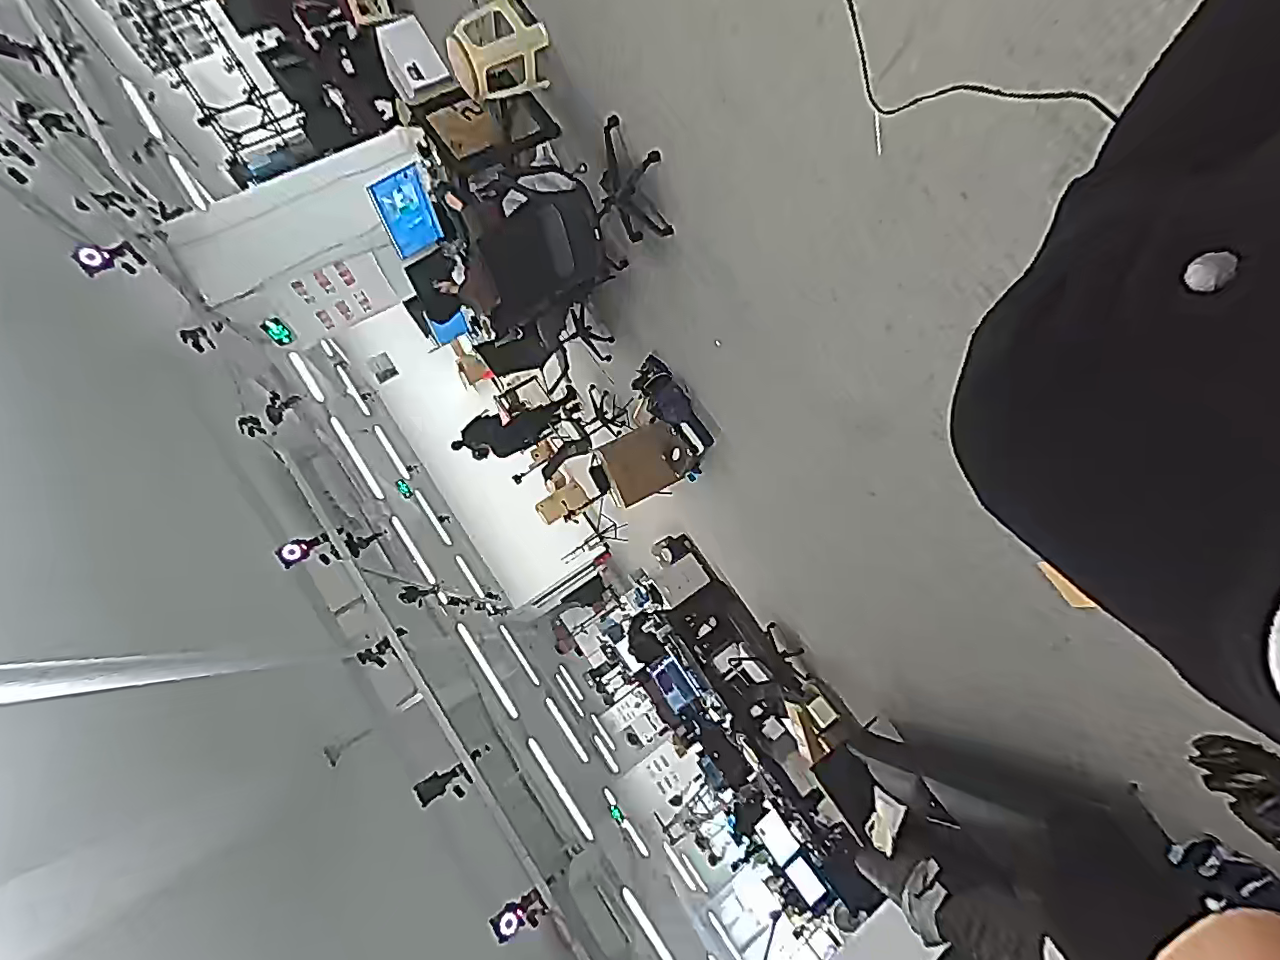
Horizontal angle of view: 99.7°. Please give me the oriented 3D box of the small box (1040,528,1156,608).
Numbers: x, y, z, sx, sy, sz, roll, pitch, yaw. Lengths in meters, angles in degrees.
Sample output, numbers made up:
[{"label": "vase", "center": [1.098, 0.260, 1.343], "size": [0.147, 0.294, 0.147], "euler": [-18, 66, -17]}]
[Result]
[{"label": "small box", "center": [1.350, 0.258, 1.587], "size": [0.168, 0.176, 0.179], "euler": [54, 168, 8]}]
